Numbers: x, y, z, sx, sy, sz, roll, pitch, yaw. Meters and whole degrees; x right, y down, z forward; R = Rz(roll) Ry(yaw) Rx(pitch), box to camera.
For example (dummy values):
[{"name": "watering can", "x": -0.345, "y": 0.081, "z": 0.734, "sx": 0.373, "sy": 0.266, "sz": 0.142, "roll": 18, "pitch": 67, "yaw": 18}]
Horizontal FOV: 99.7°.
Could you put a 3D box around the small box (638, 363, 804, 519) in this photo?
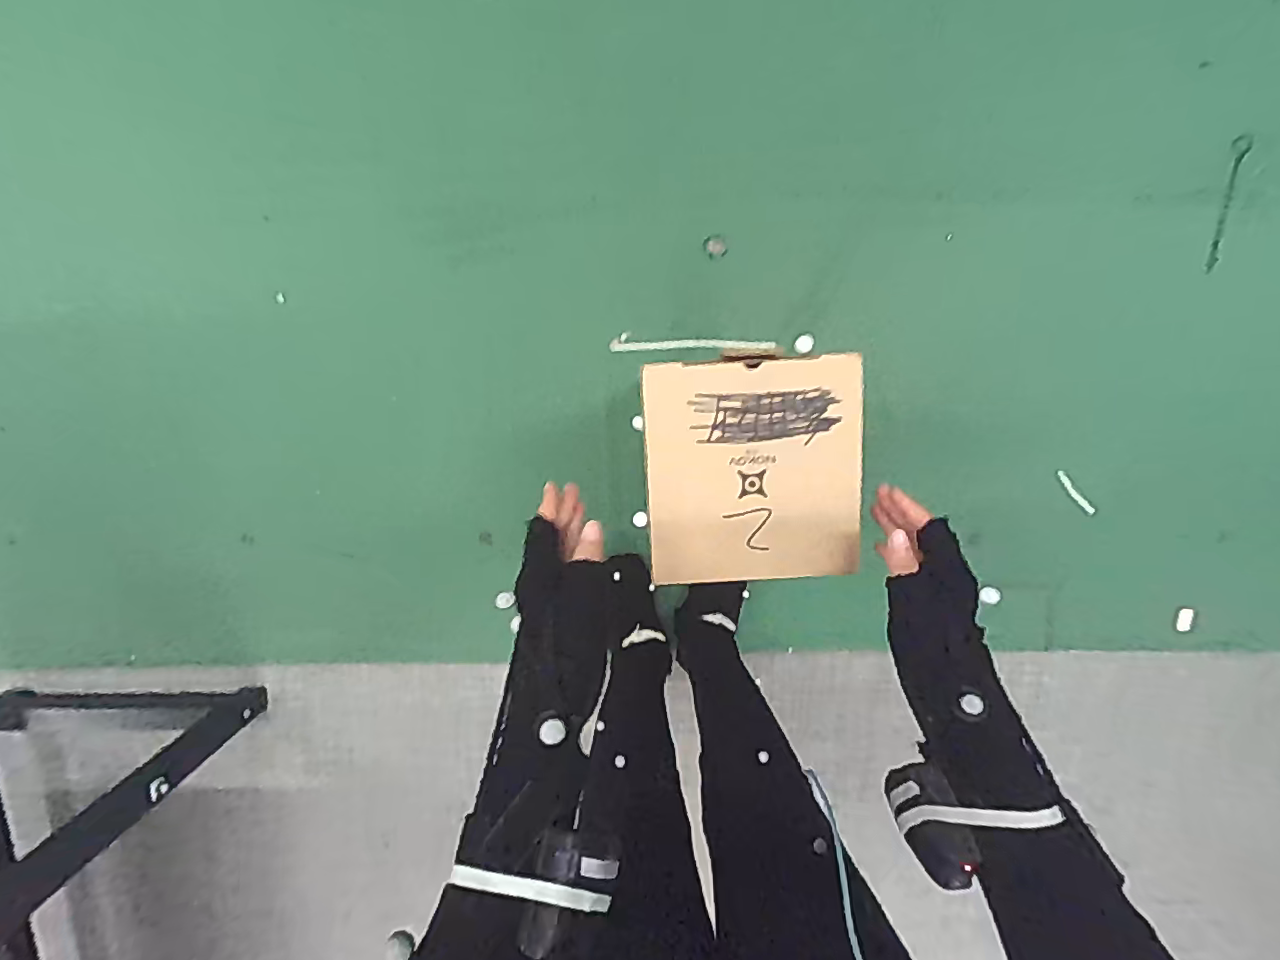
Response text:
[{"name": "small box", "x": 0.090, "y": -0.051, "z": 0.659, "sx": 0.179, "sy": 0.176, "sz": 0.168, "roll": -2, "pitch": 99, "yaw": 1}]
